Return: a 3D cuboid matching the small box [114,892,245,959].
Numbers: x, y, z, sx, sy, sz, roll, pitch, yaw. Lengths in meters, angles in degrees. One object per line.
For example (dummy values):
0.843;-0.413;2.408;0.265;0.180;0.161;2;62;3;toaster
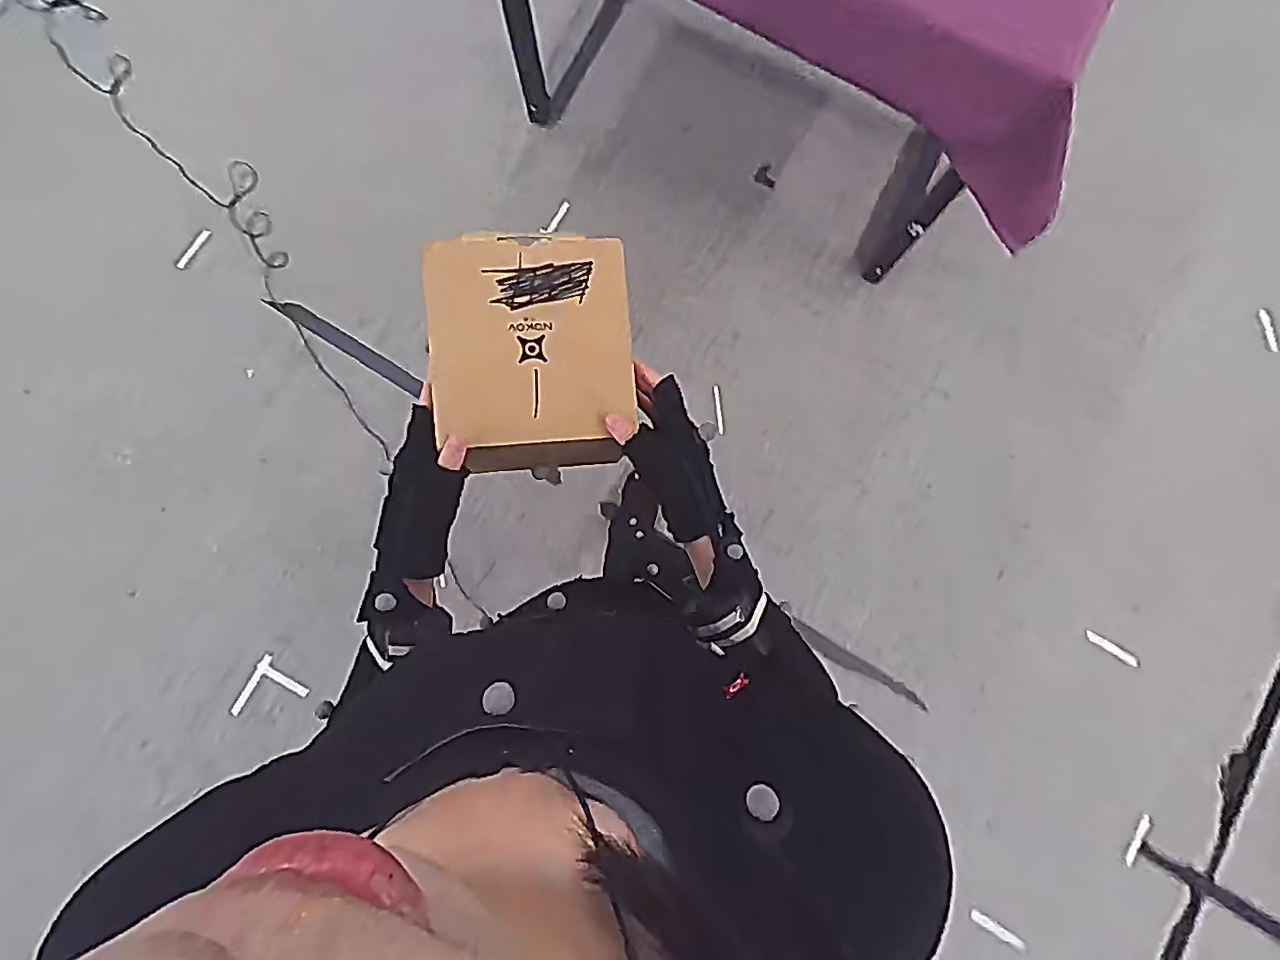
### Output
-1.114;1.140;1.292;0.179;0.176;0.168;34;83;4;small box
